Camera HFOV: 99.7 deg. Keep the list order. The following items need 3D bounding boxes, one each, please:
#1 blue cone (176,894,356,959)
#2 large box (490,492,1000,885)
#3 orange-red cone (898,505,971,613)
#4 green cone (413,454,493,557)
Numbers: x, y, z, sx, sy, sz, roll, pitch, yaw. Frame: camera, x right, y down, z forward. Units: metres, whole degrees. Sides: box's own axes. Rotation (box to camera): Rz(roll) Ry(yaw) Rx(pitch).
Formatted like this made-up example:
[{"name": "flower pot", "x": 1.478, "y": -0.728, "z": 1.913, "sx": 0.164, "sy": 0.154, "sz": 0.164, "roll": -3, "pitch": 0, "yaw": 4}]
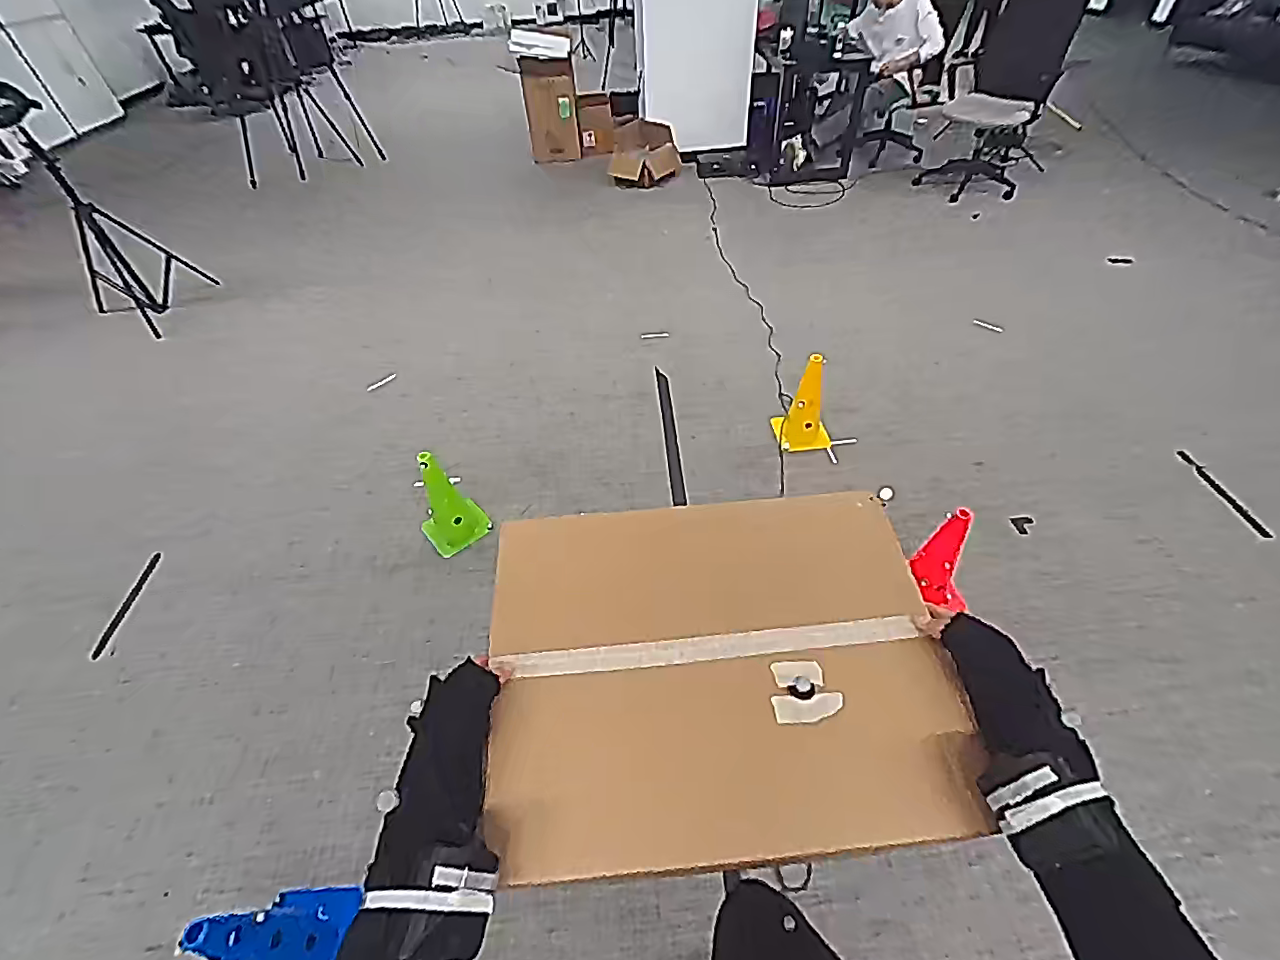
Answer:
[{"name": "blue cone", "x": -0.725, "y": 0.887, "z": 1.027, "sx": 0.192, "sy": 0.380, "sz": 0.193, "roll": -4, "pitch": 46, "yaw": 2}, {"name": "large box", "x": 0.071, "y": 0.242, "z": 0.614, "sx": 0.408, "sy": 0.320, "sz": 0.320, "roll": -5, "pitch": 53, "yaw": -2}, {"name": "orange-red cone", "x": 0.849, "y": 0.200, "z": 1.532, "sx": 0.198, "sy": 0.360, "sz": 0.199, "roll": -7, "pitch": 45, "yaw": -3}, {"name": "green cone", "x": -0.660, "y": 0.049, "z": 1.786, "sx": 0.202, "sy": 0.368, "sz": 0.200, "roll": -36, "pitch": 53, "yaw": -24}]
